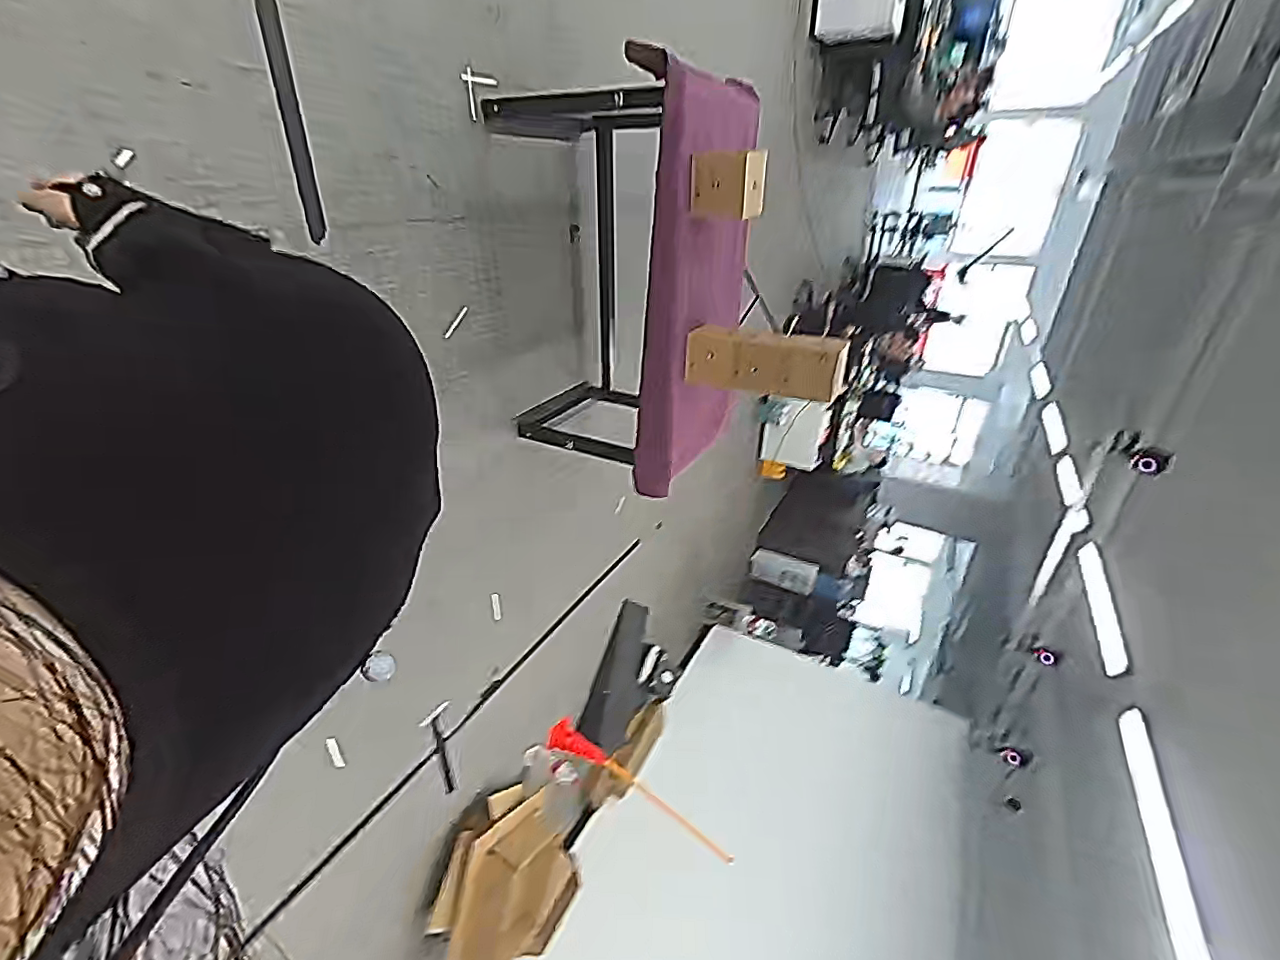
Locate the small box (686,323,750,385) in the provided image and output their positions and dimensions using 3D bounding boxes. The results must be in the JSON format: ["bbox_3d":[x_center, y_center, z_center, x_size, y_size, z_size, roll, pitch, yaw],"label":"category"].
[{"bbox_3d":[0.268,-0.439,1.868,0.179,0.176,0.168,-41,138,-51],"label":"small box"}]

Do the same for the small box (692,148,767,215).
[{"bbox_3d":[0.261,-0.884,1.599,0.179,0.176,0.168,-45,142,-48],"label":"small box"}]

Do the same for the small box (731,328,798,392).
[{"bbox_3d":[0.414,-0.403,1.801,0.179,0.176,0.168,-39,137,-51],"label":"small box"}]
